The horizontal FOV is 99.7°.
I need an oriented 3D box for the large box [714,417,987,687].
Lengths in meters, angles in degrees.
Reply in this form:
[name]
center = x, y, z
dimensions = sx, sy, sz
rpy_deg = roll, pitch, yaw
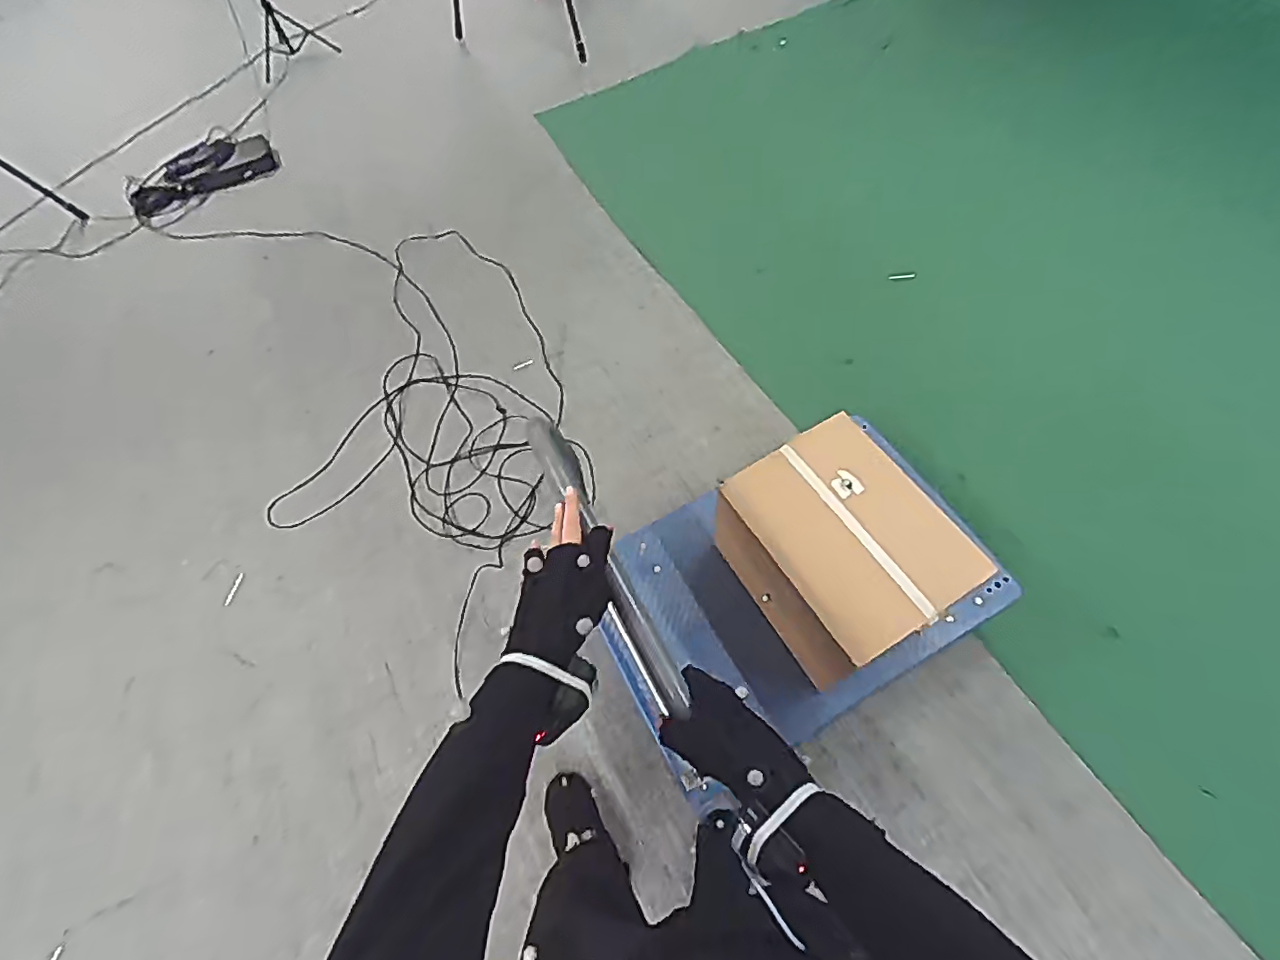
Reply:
[large box]
center = 0.392, 0.157, 1.129
dimensions = 0.320, 0.320, 0.408
rpy_deg = -29, 62, -10
